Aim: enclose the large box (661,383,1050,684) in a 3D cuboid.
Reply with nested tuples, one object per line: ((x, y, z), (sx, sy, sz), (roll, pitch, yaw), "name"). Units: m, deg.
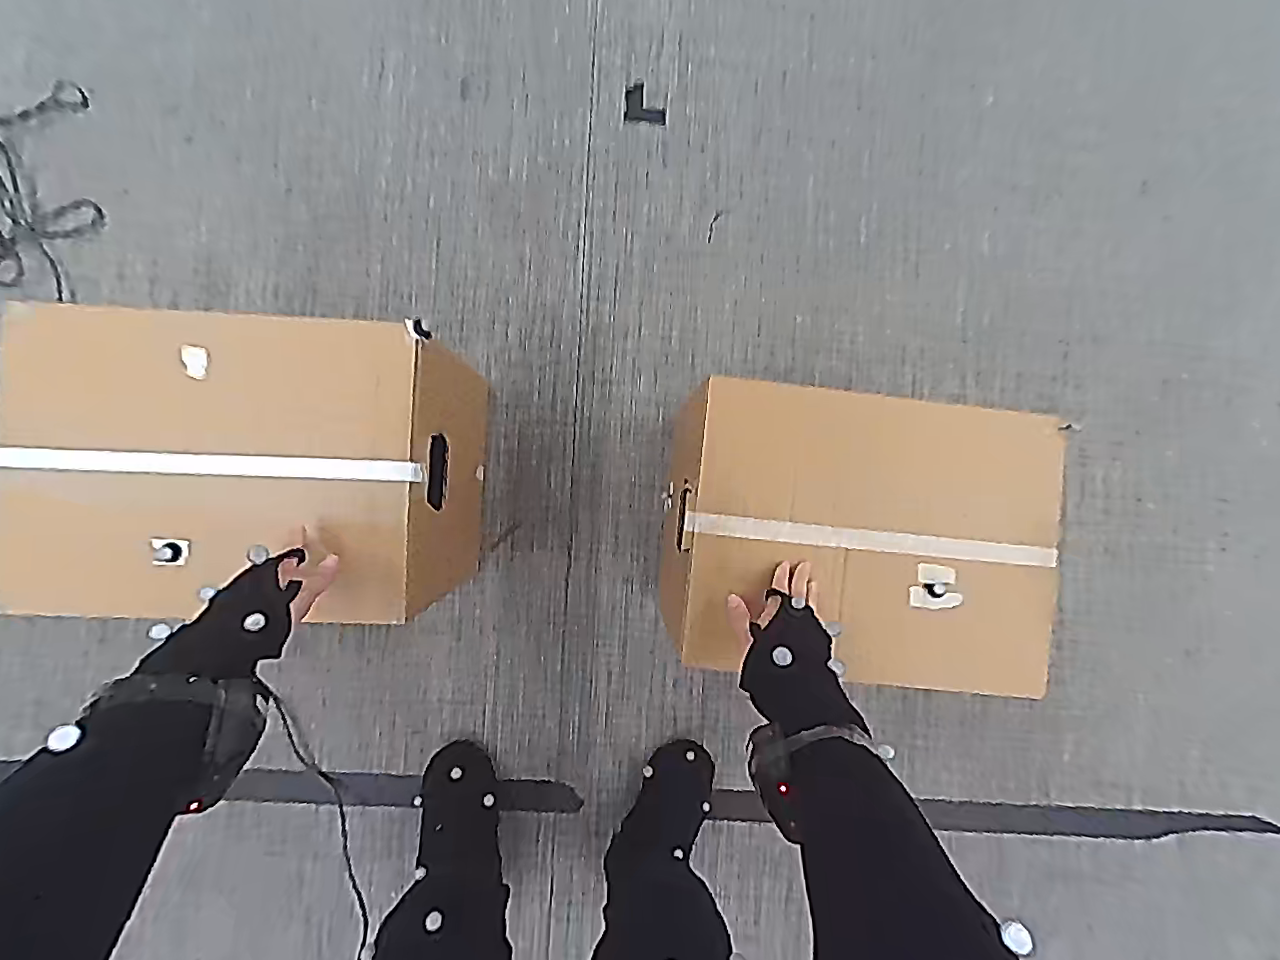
((0.251, 0.066, 0.753), (0.408, 0.320, 0.320), (6, 89, -4), "large box")
